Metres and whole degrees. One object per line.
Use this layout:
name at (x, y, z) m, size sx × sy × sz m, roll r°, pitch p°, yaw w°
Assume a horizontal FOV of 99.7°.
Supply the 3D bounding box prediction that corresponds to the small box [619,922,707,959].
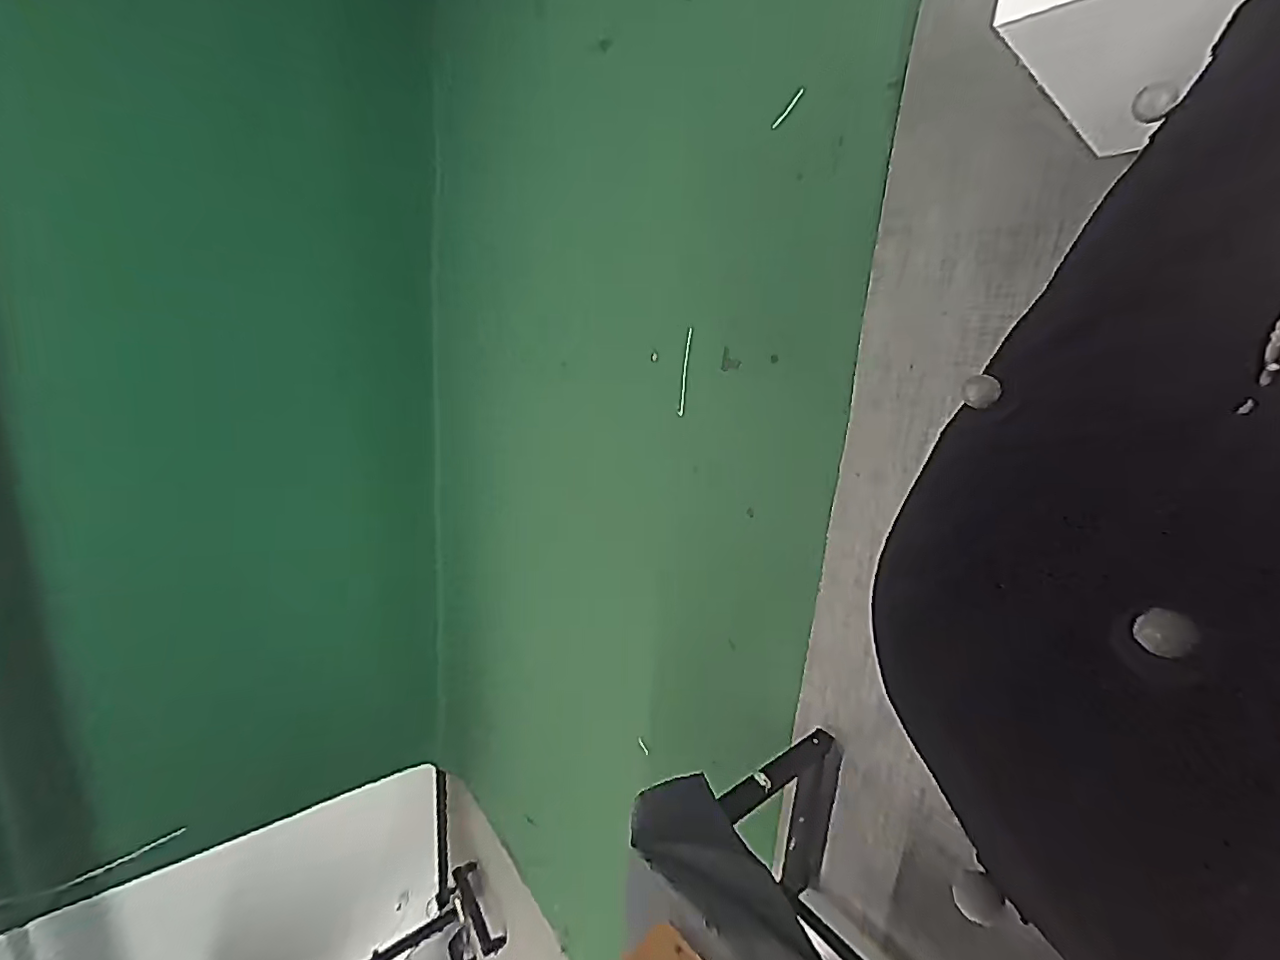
small box at (0.050, 1.010, 1.022) m, size 0.168 × 0.176 × 0.179 m, roll 13°, pitch 105°, yaw 49°
